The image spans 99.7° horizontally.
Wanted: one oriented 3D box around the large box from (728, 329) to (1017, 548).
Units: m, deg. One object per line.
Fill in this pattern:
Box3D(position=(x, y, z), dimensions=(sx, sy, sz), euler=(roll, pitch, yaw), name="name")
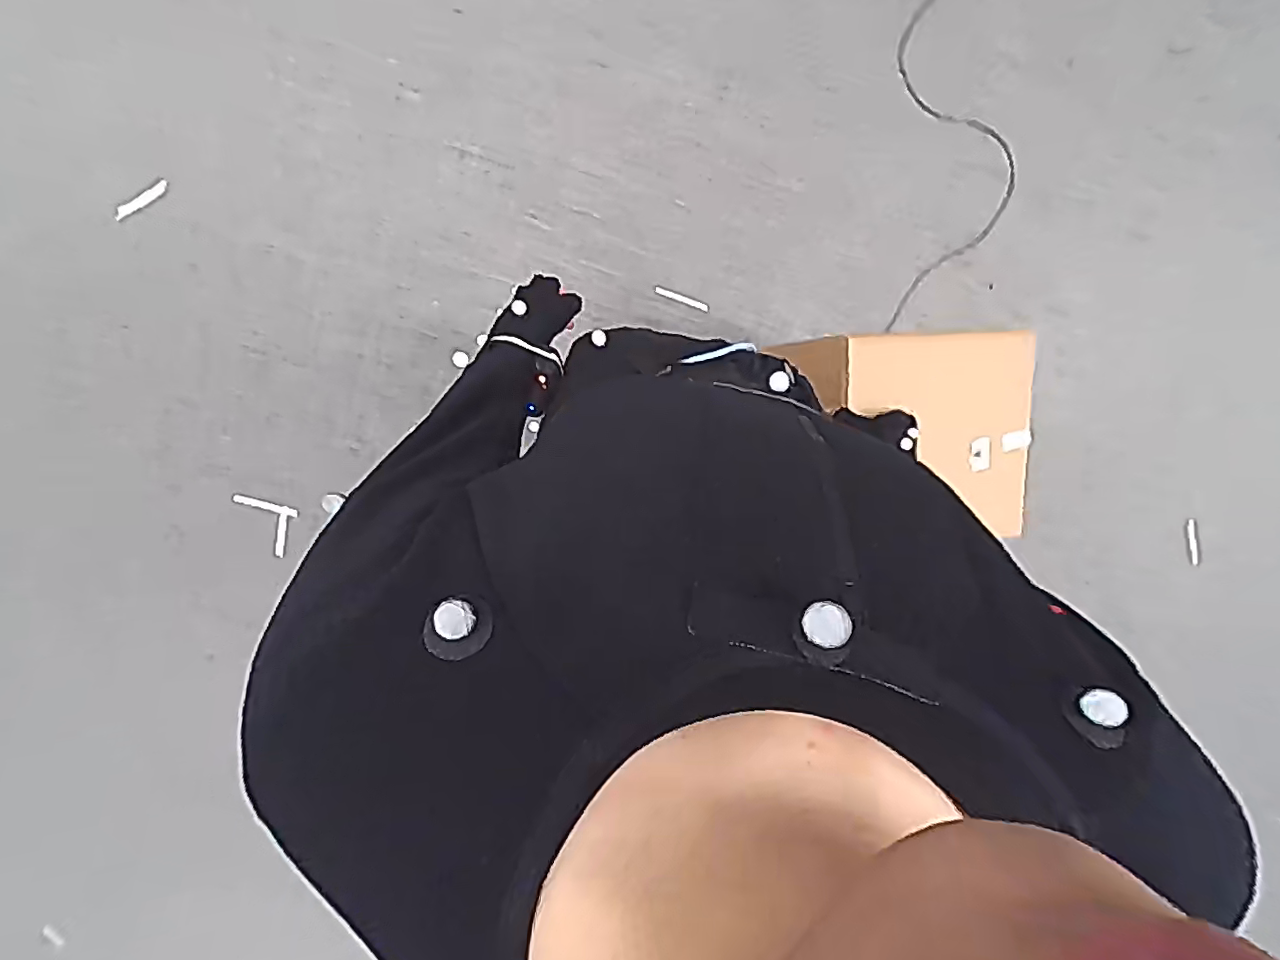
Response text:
Box3D(position=(0.381, -0.093, 0.978), dimensions=(0.320, 0.408, 0.320), euler=(-4, 101, -12), name="large box")
